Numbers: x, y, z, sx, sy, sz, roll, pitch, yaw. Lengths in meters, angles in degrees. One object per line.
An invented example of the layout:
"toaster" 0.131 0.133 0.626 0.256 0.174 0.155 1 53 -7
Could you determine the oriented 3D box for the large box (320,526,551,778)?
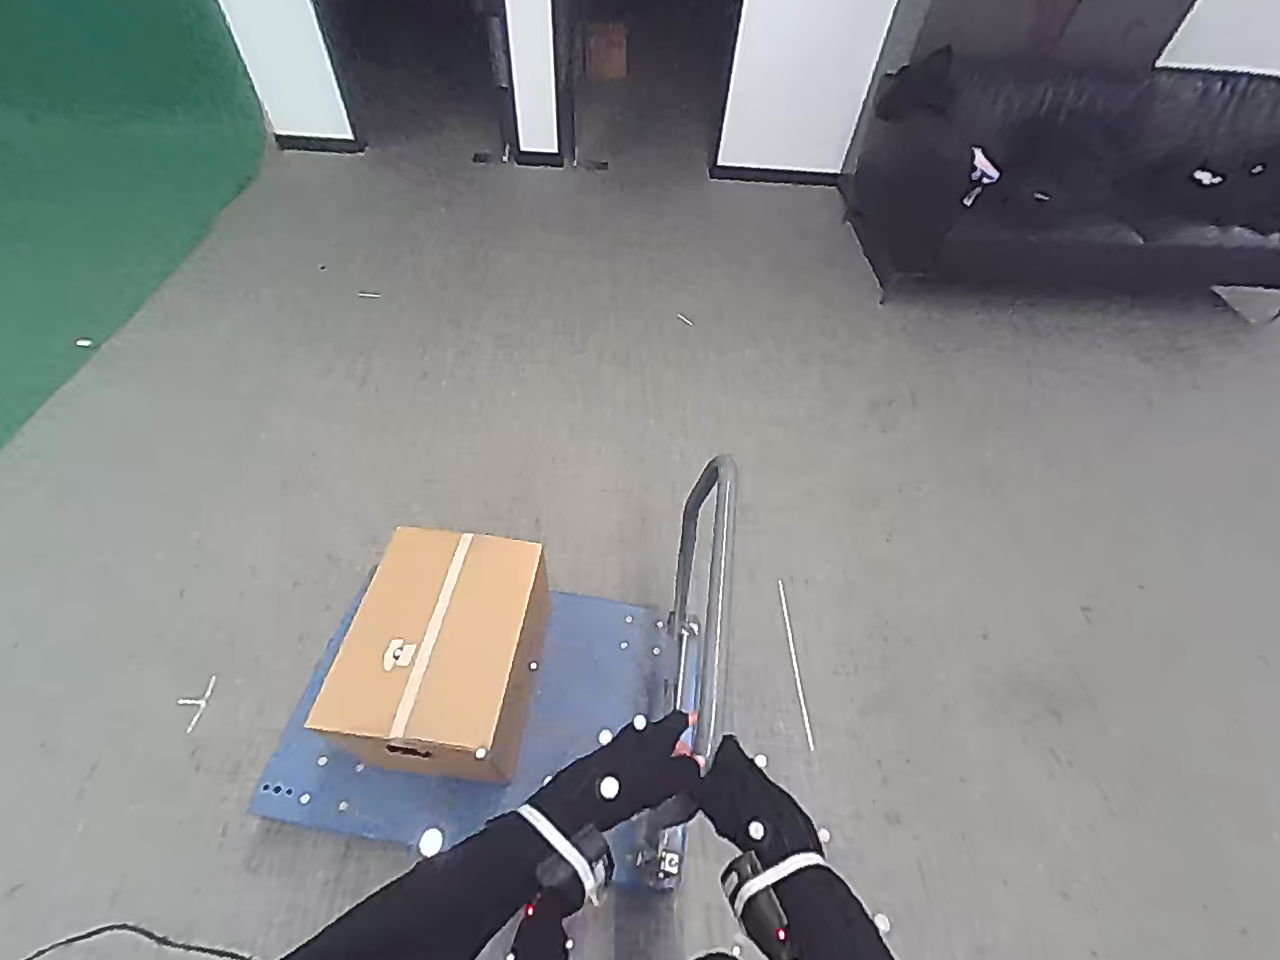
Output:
"large box" -0.378 0.360 1.136 0.320 0.320 0.408 8 52 1
